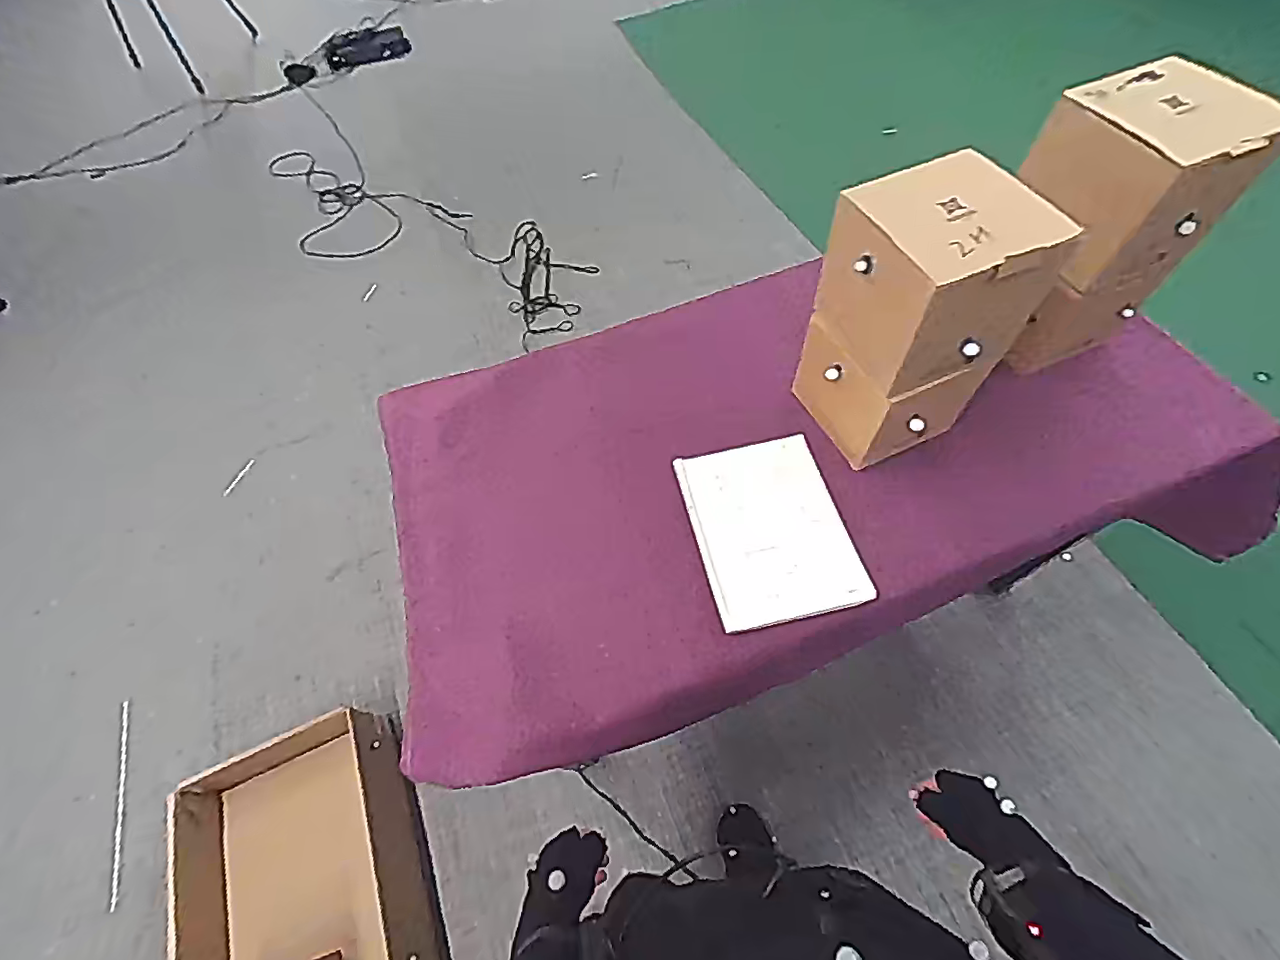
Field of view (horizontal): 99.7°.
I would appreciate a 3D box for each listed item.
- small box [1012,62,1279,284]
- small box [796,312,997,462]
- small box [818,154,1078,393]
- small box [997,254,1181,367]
[{"bbox_3d":[0.606,-0.372,0.679,0.168,0.176,0.179,-20,61,-7],"label":"small box"},{"bbox_3d":[0.345,-0.146,0.768,0.168,0.176,0.179,-23,60,-7],"label":"small box"},{"bbox_3d":[0.331,-0.234,0.629,0.168,0.176,0.179,-20,60,-5],"label":"small box"},{"bbox_3d":[0.625,-0.294,0.822,0.168,0.176,0.179,-20,60,-6],"label":"small box"}]
